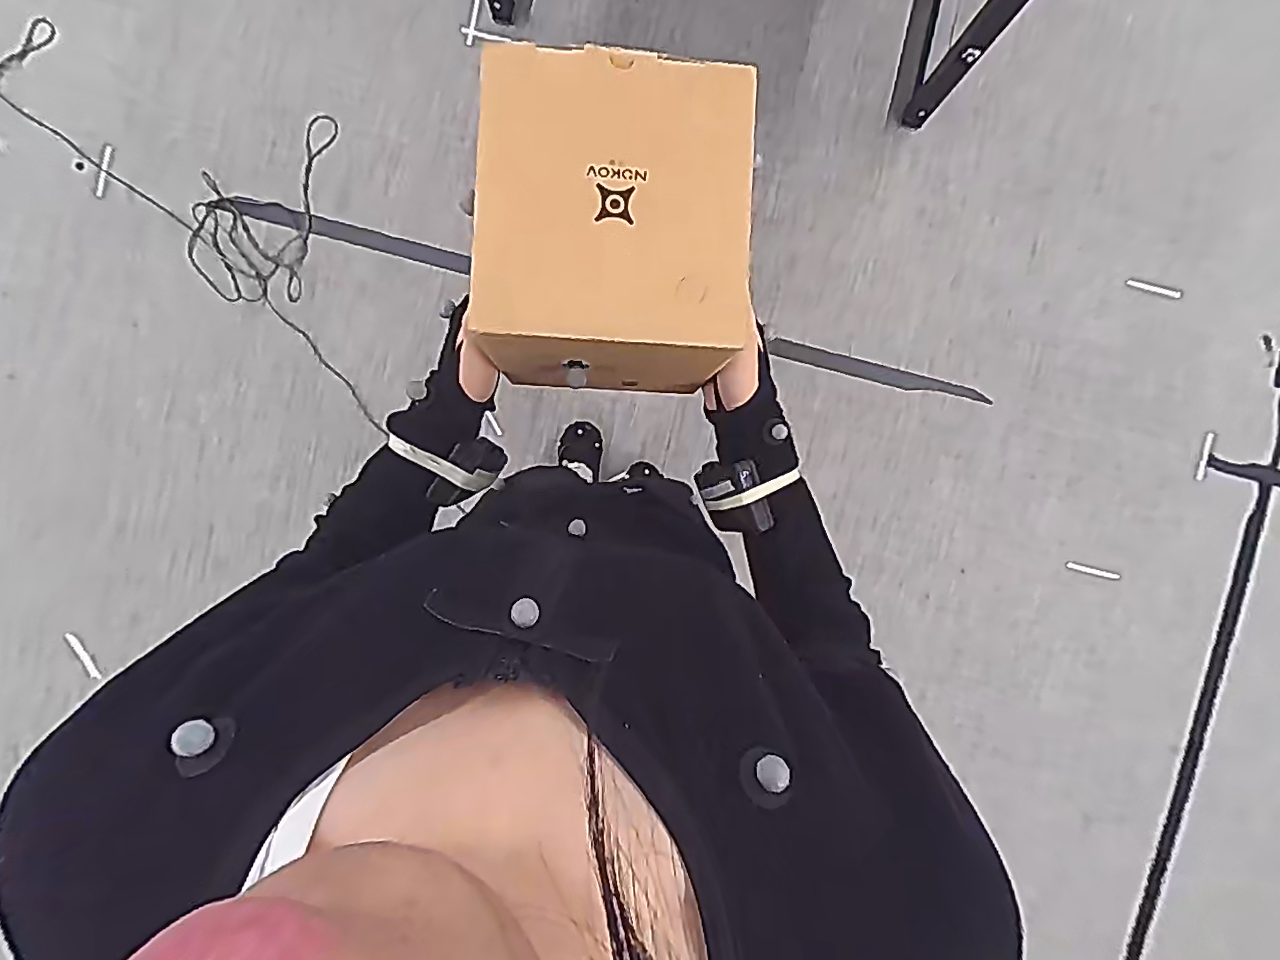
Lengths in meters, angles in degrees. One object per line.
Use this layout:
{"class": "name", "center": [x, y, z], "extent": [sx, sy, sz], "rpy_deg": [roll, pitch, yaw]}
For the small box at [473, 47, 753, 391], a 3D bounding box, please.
{"class": "small box", "center": [-0.020, -0.168, 0.407], "extent": [0.168, 0.176, 0.179], "rpy_deg": [2, 88, -5]}
